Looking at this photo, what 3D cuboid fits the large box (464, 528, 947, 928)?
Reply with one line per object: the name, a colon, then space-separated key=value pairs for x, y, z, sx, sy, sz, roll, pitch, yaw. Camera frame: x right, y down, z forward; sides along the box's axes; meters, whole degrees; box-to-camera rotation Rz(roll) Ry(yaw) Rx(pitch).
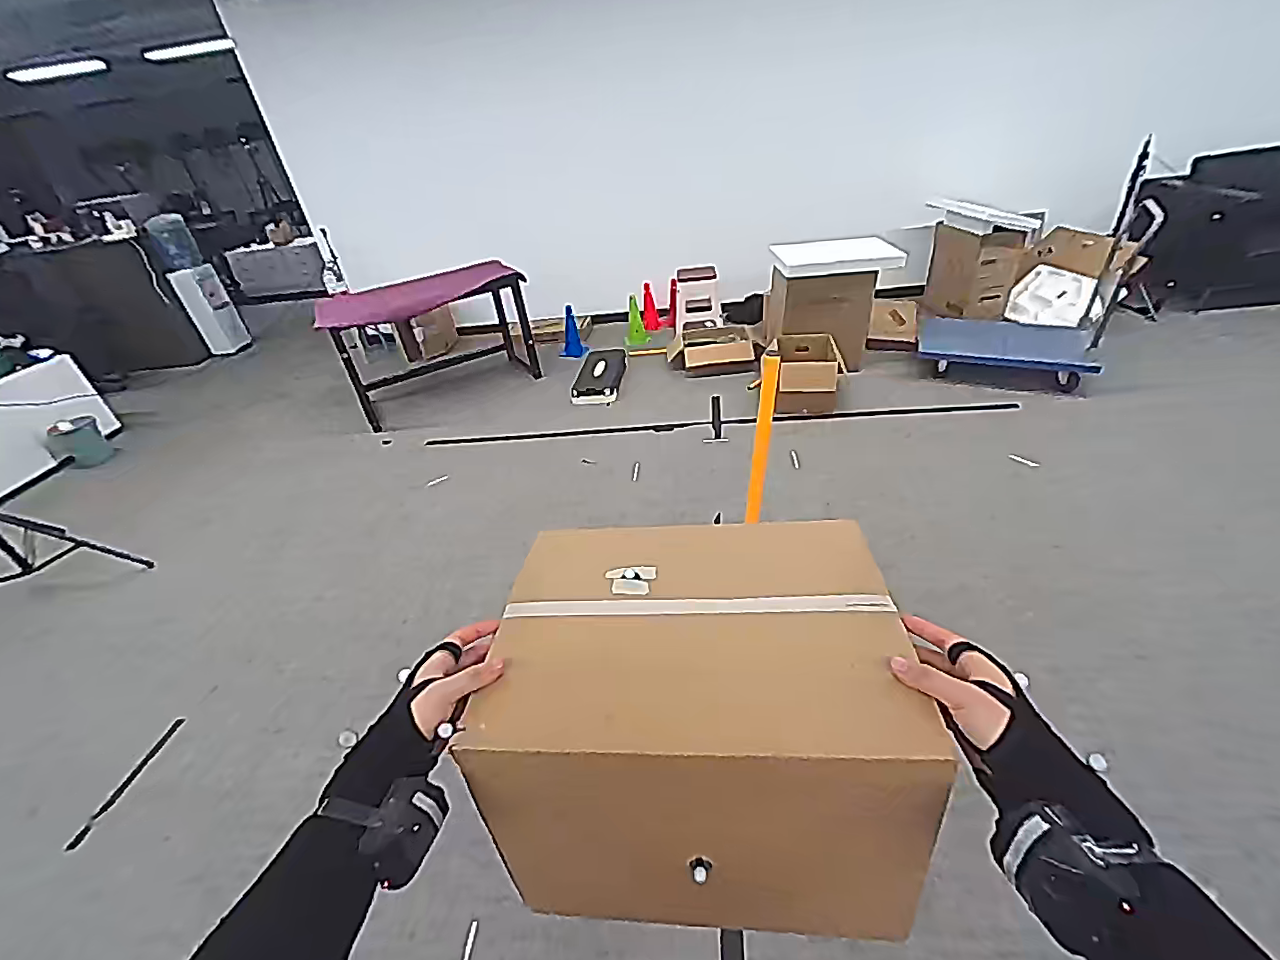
large box: x=0.074 y=0.279 z=0.641 sx=0.408 sy=0.320 sz=0.320 roll=-4 pitch=29 yaw=8
